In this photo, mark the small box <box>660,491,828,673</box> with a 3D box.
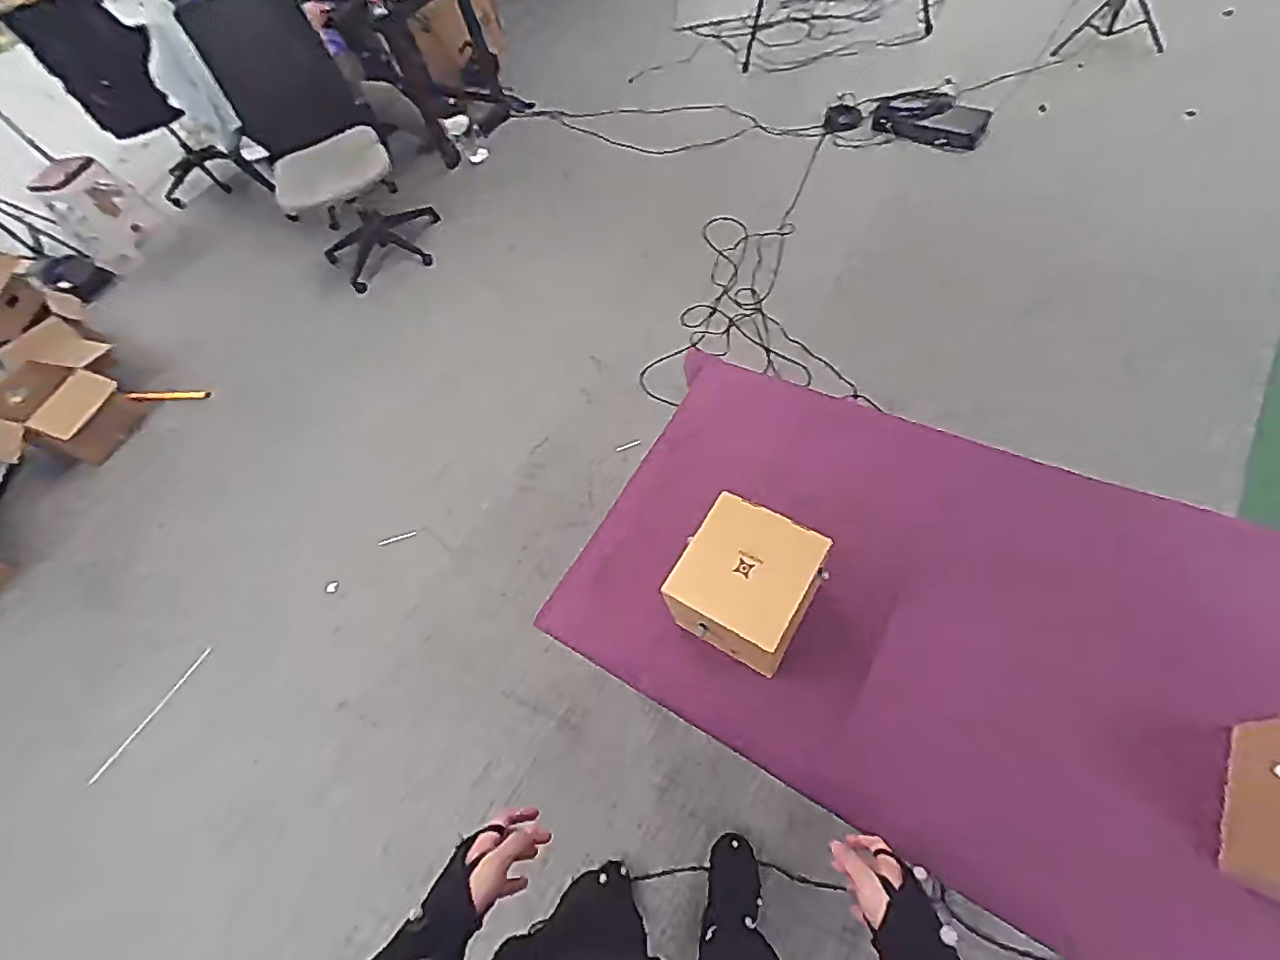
[{"bbox_3d":[0.153,0.152,0.782,0.168,0.176,0.179,25,67,25],"label":"small box"}]

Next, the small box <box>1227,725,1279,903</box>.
[{"bbox_3d":[0.741,0.354,0.531,0.168,0.176,0.179,22,65,25],"label":"small box"}]
